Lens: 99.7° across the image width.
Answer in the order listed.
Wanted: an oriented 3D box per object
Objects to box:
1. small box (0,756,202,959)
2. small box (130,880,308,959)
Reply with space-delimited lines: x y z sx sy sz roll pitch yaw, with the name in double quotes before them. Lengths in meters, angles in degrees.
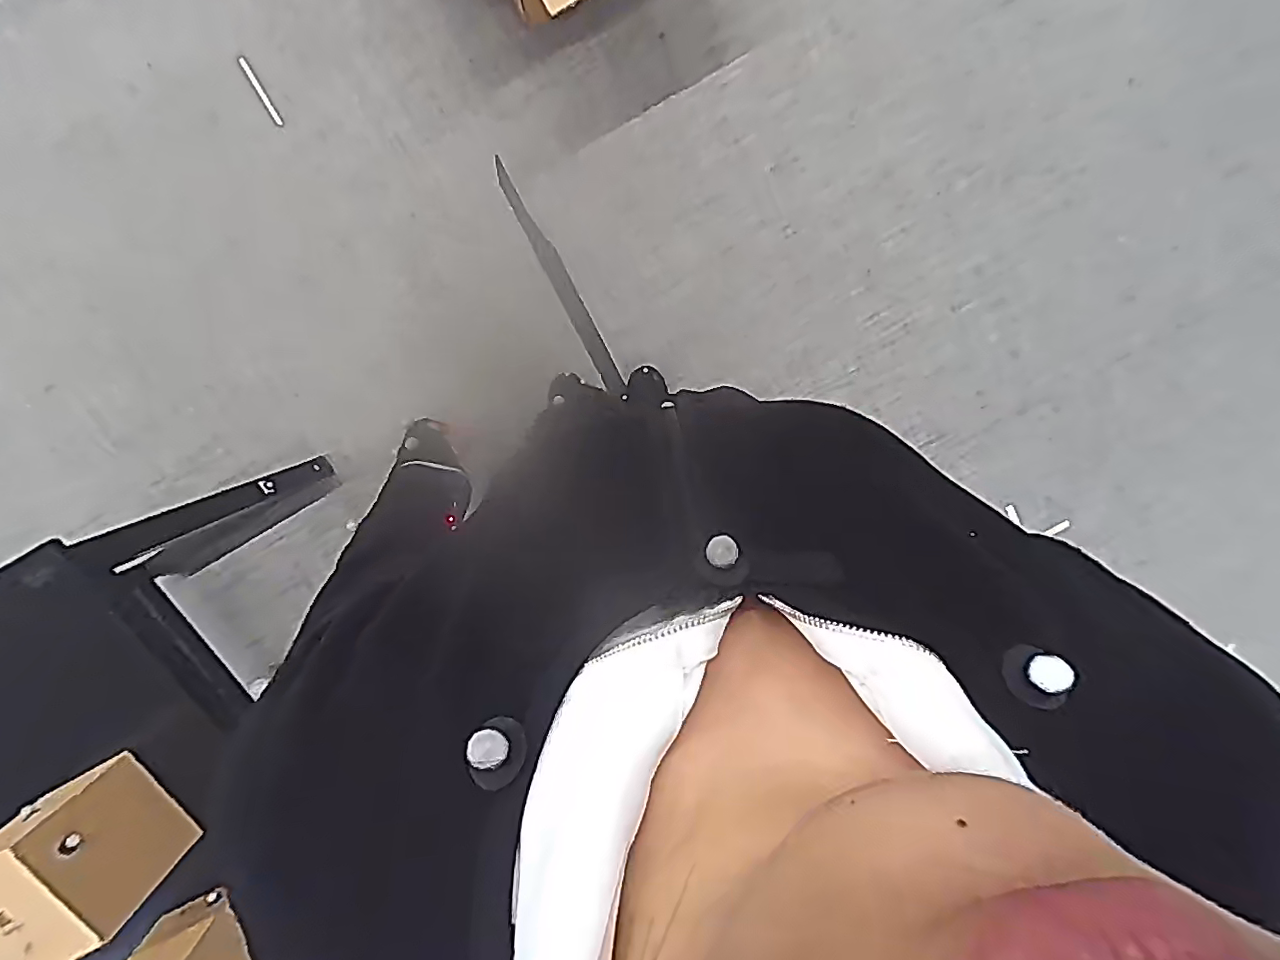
"small box" -0.790 0.525 0.760 0.168 0.176 0.179 -29 103 5
"small box" -0.660 0.754 0.820 0.168 0.176 0.179 -28 104 4
